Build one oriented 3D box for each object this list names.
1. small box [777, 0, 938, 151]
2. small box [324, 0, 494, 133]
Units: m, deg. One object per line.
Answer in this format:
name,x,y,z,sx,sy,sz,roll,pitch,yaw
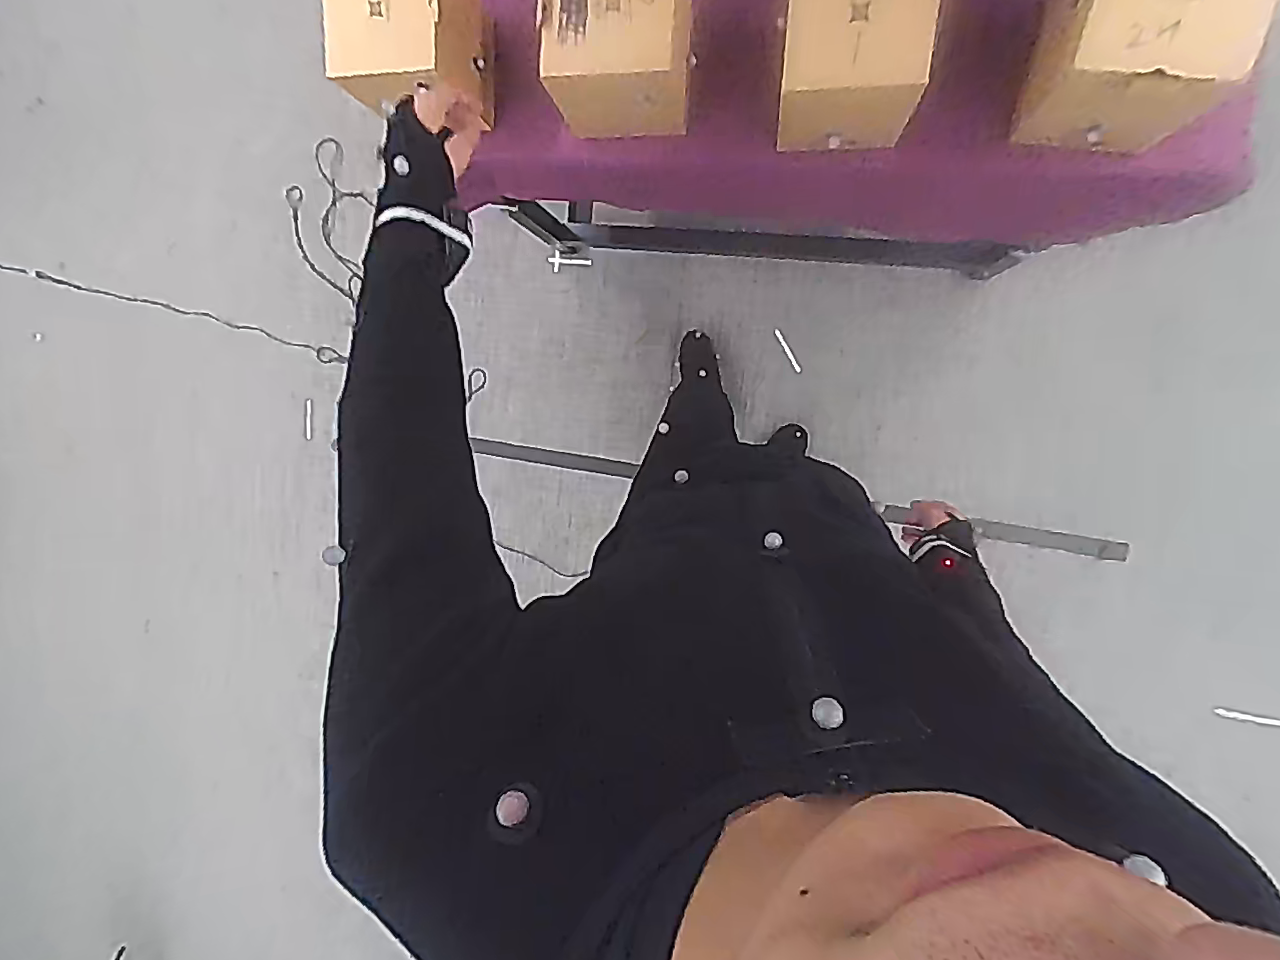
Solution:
small box,0.269,-0.553,0.694,0.168,0.176,0.179,6,100,12
small box,-0.340,-0.651,0.815,0.179,0.176,0.168,4,99,10
